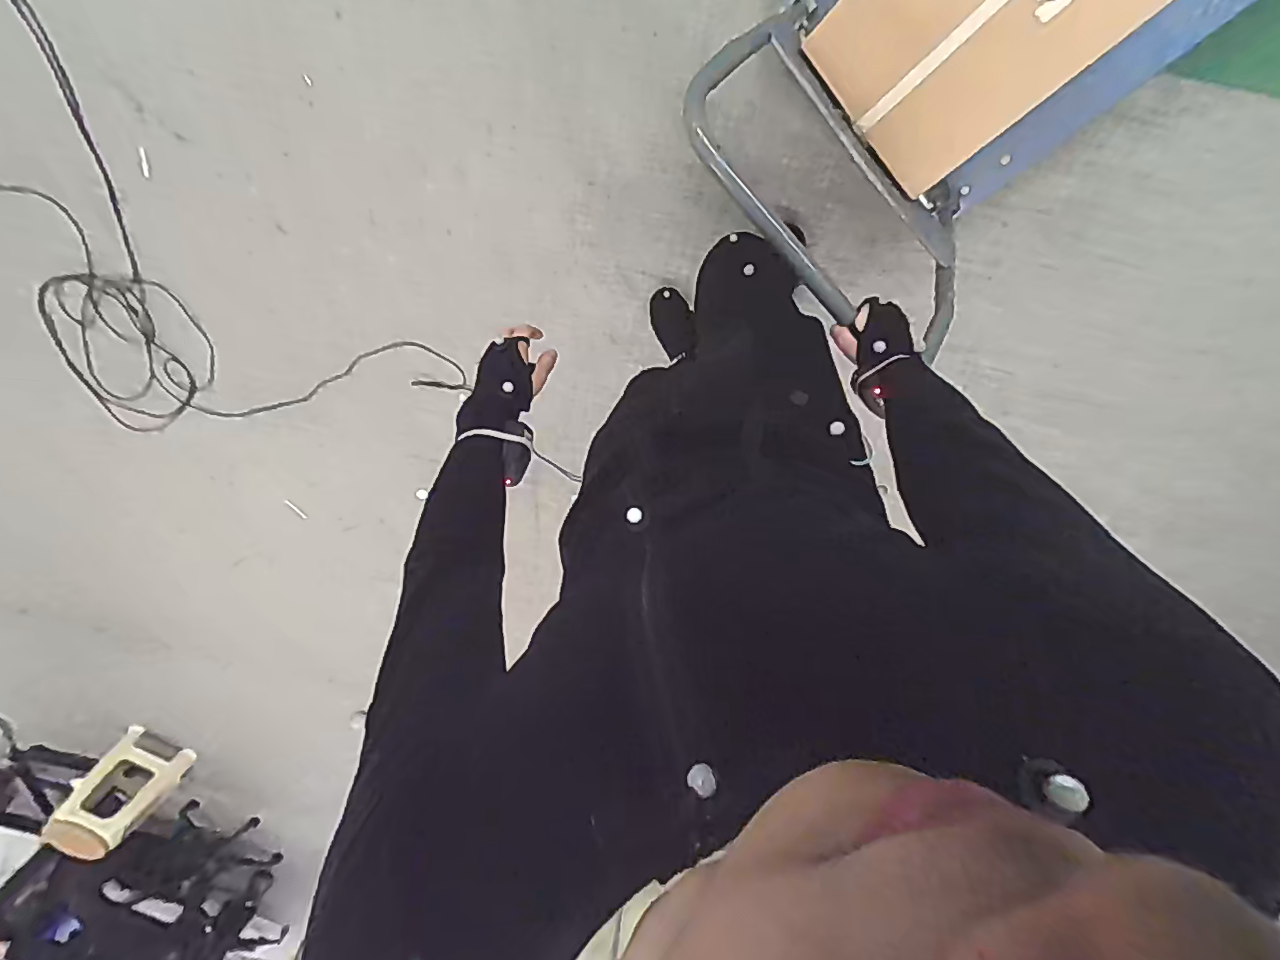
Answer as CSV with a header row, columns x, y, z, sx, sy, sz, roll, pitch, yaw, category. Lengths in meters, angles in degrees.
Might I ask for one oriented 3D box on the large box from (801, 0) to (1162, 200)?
x,y,z,sx,sy,sz,roll,pitch,yaw,category
0.533,-0.758,0.882,0.320,0.320,0.408,43,133,-15,large box
